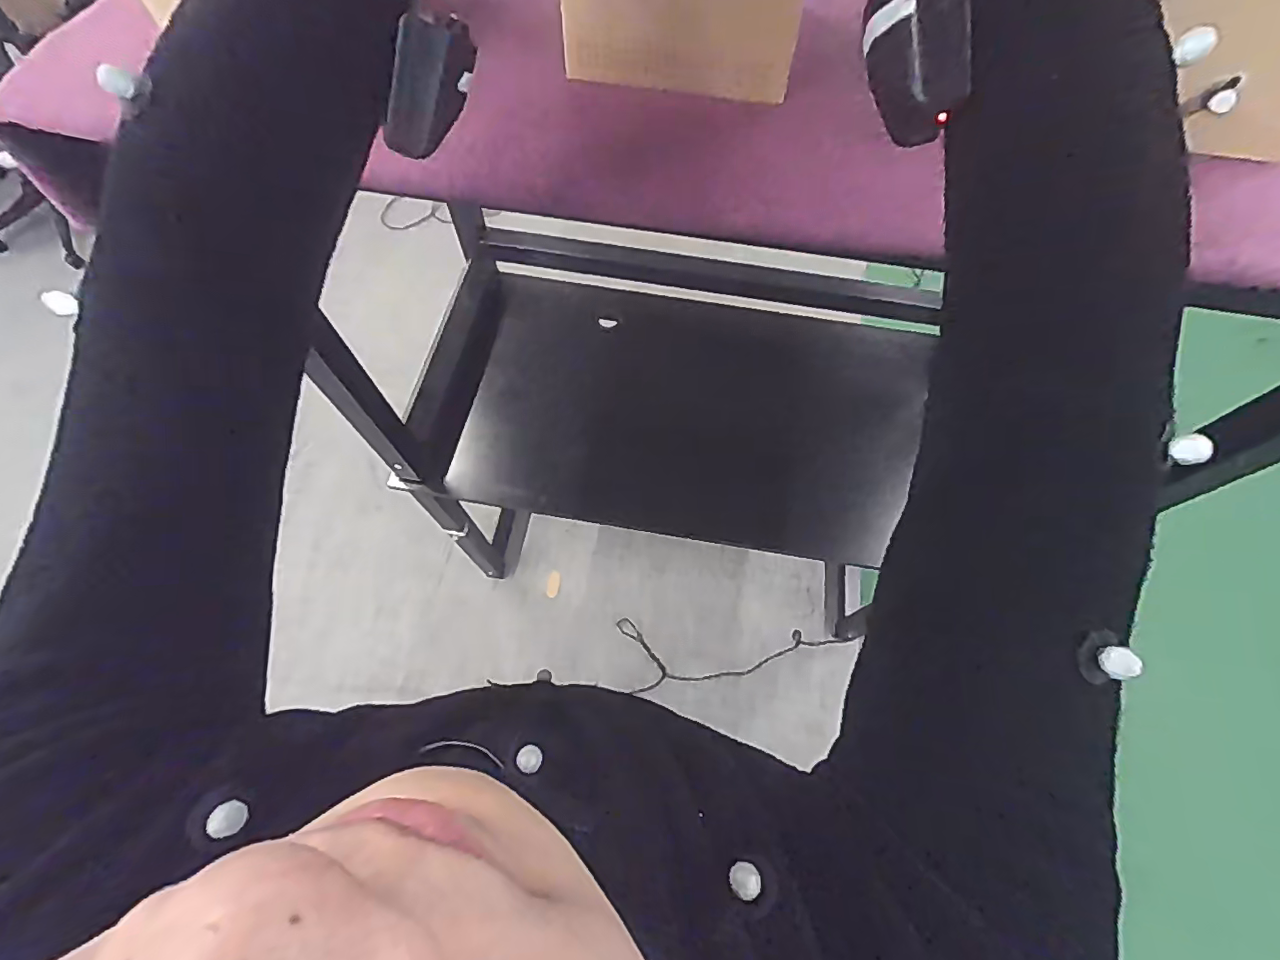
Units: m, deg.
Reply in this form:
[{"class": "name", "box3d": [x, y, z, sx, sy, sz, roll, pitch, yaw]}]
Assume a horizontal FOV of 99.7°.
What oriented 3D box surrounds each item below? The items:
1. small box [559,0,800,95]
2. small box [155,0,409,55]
[{"class": "small box", "box3d": [0.040, -0.417, 0.391, 0.179, 0.176, 0.168, 9, 64, 4]}, {"class": "small box", "box3d": [-0.289, -0.458, 0.403, 0.179, 0.176, 0.168, 7, 65, 1]}]
